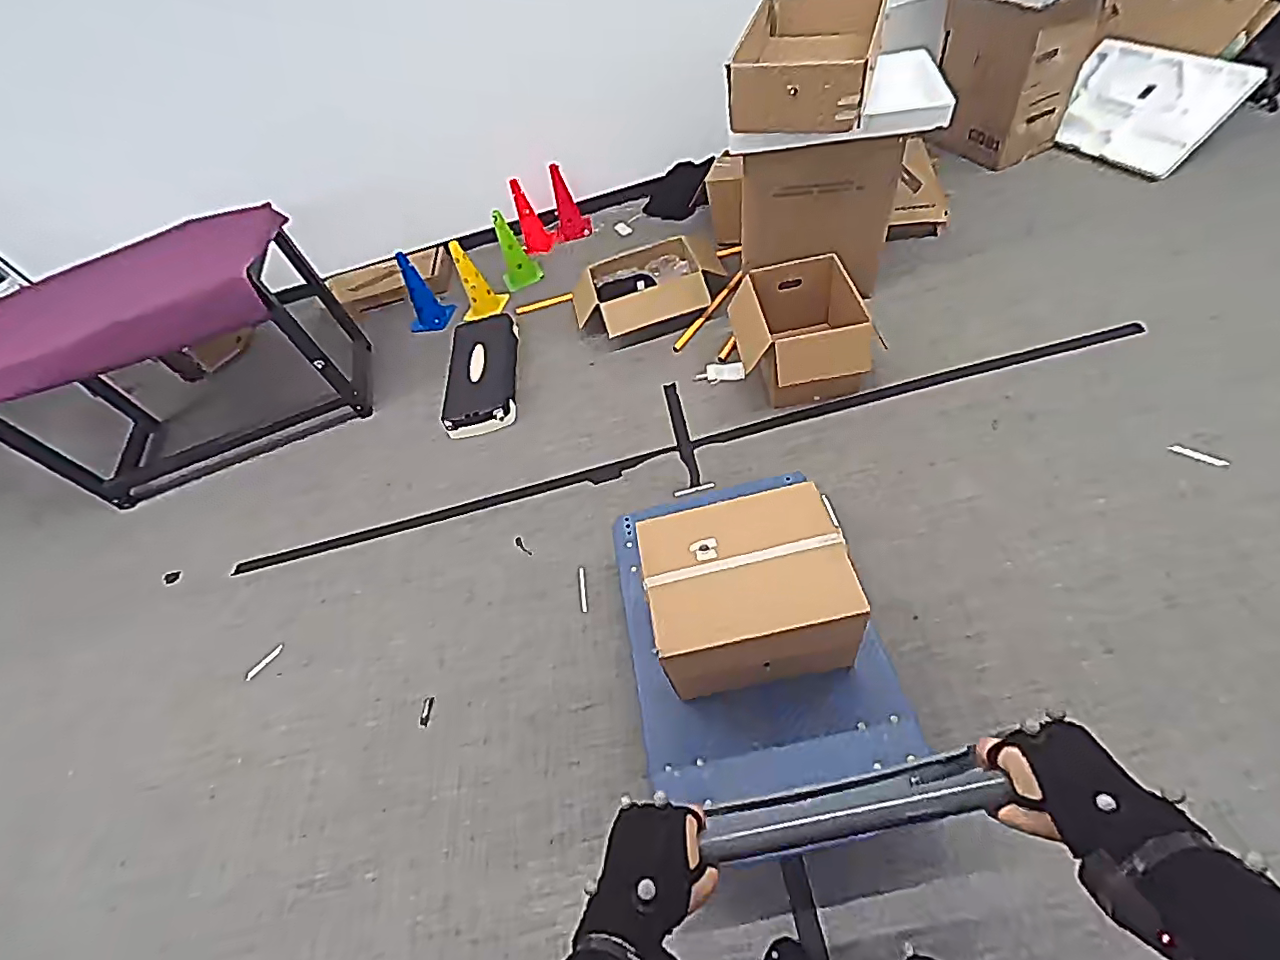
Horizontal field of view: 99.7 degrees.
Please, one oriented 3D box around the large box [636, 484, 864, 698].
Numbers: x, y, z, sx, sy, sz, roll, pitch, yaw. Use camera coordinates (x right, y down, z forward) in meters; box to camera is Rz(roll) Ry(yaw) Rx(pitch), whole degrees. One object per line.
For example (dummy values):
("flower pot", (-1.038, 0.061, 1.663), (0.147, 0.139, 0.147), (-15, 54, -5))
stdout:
("large box", (0.238, 0.263, 1.229), (0.408, 0.320, 0.320), (-15, 51, 4))
